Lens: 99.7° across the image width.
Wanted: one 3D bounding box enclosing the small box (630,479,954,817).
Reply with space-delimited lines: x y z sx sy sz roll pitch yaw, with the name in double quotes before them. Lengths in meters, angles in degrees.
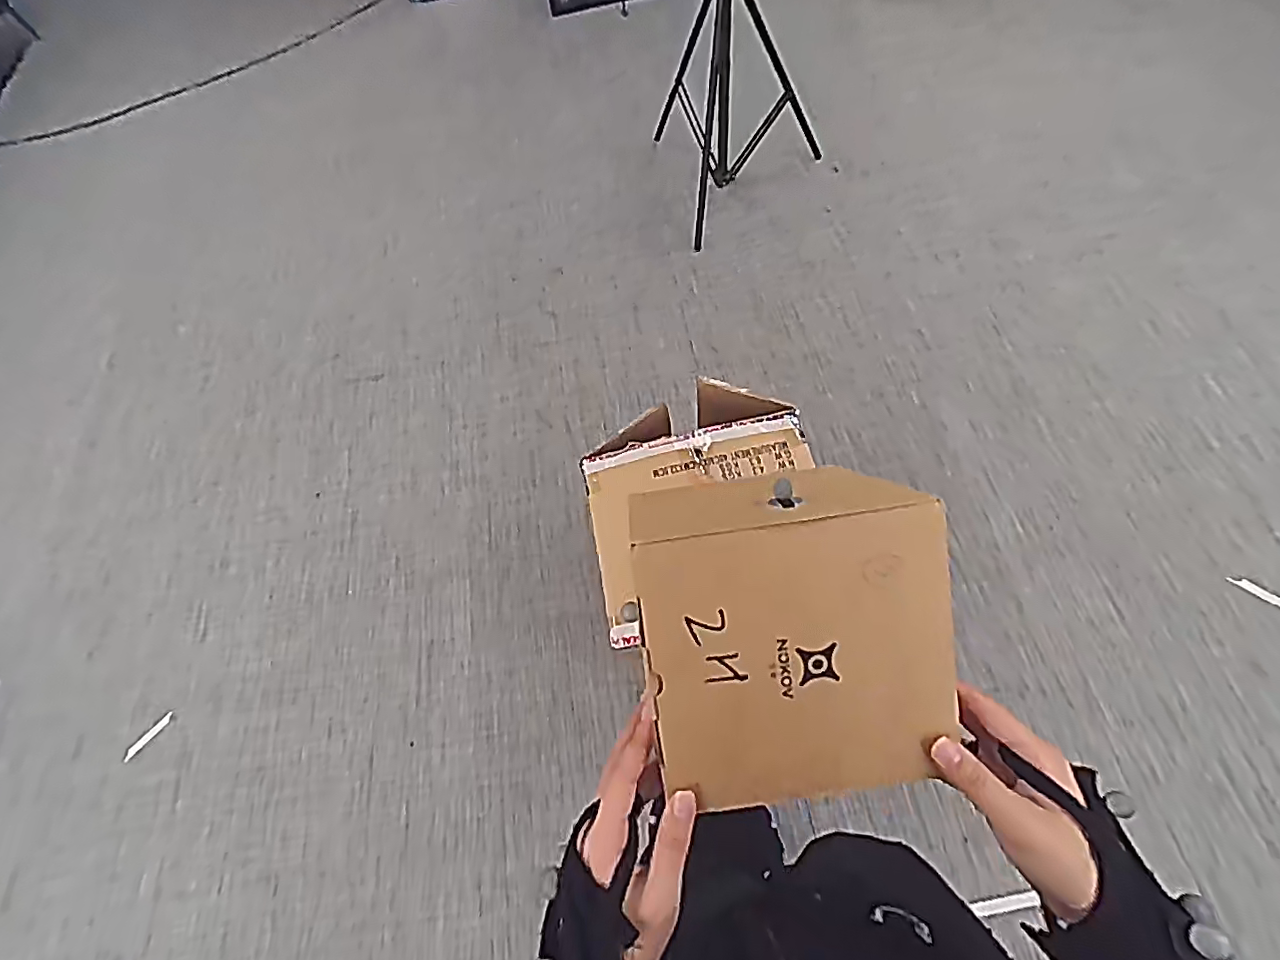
"small box" 0.089 0.098 0.390 0.179 0.176 0.168 -8 97 0
